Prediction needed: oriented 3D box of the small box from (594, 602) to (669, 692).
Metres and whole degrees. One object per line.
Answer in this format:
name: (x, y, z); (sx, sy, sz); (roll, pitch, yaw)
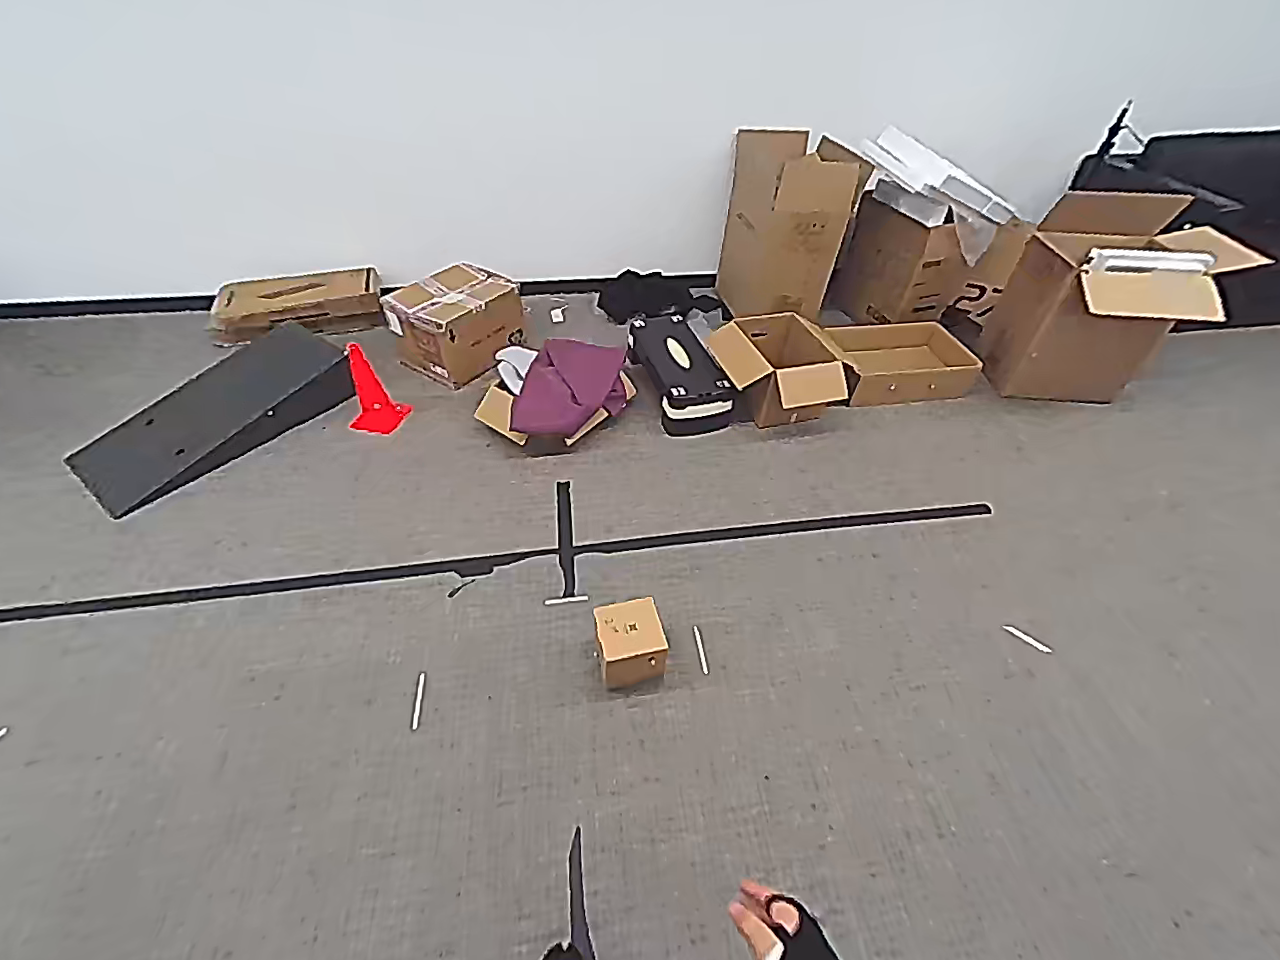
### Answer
small box: (-0.029, 0.472, 1.523); (0.179, 0.176, 0.168); (-9, 46, -12)
